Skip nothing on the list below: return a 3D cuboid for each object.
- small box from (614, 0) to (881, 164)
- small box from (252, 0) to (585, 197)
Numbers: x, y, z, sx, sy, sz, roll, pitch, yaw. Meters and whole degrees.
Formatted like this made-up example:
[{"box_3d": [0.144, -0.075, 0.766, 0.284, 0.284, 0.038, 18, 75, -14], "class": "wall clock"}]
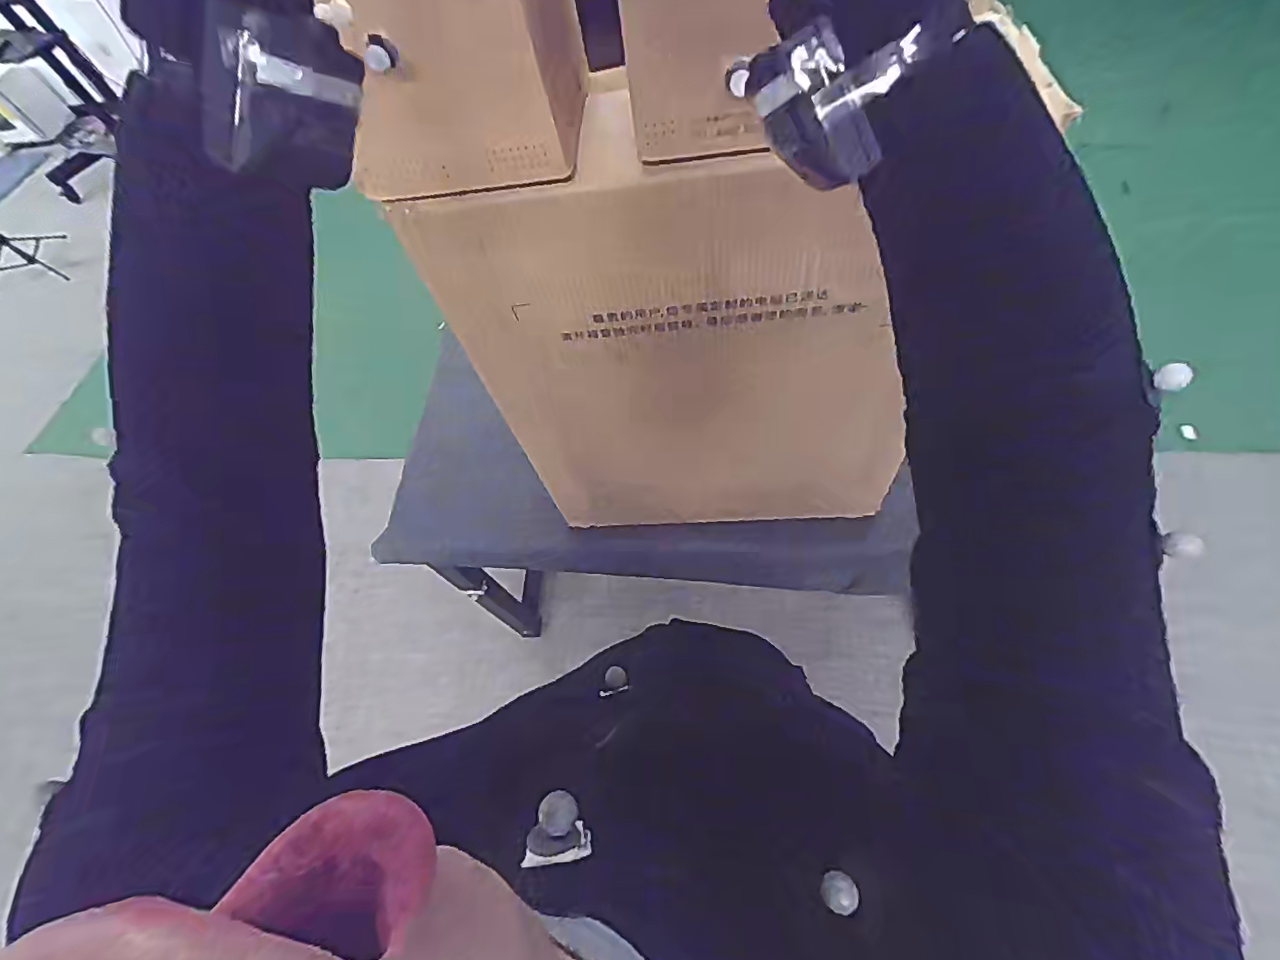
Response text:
[{"box_3d": [0.068, -0.357, 0.379, 0.168, 0.176, 0.179, -2, 63, 6], "class": "small box"}, {"box_3d": [-0.151, -0.339, 0.404, 0.179, 0.176, 0.168, -2, 62, 8], "class": "small box"}]
